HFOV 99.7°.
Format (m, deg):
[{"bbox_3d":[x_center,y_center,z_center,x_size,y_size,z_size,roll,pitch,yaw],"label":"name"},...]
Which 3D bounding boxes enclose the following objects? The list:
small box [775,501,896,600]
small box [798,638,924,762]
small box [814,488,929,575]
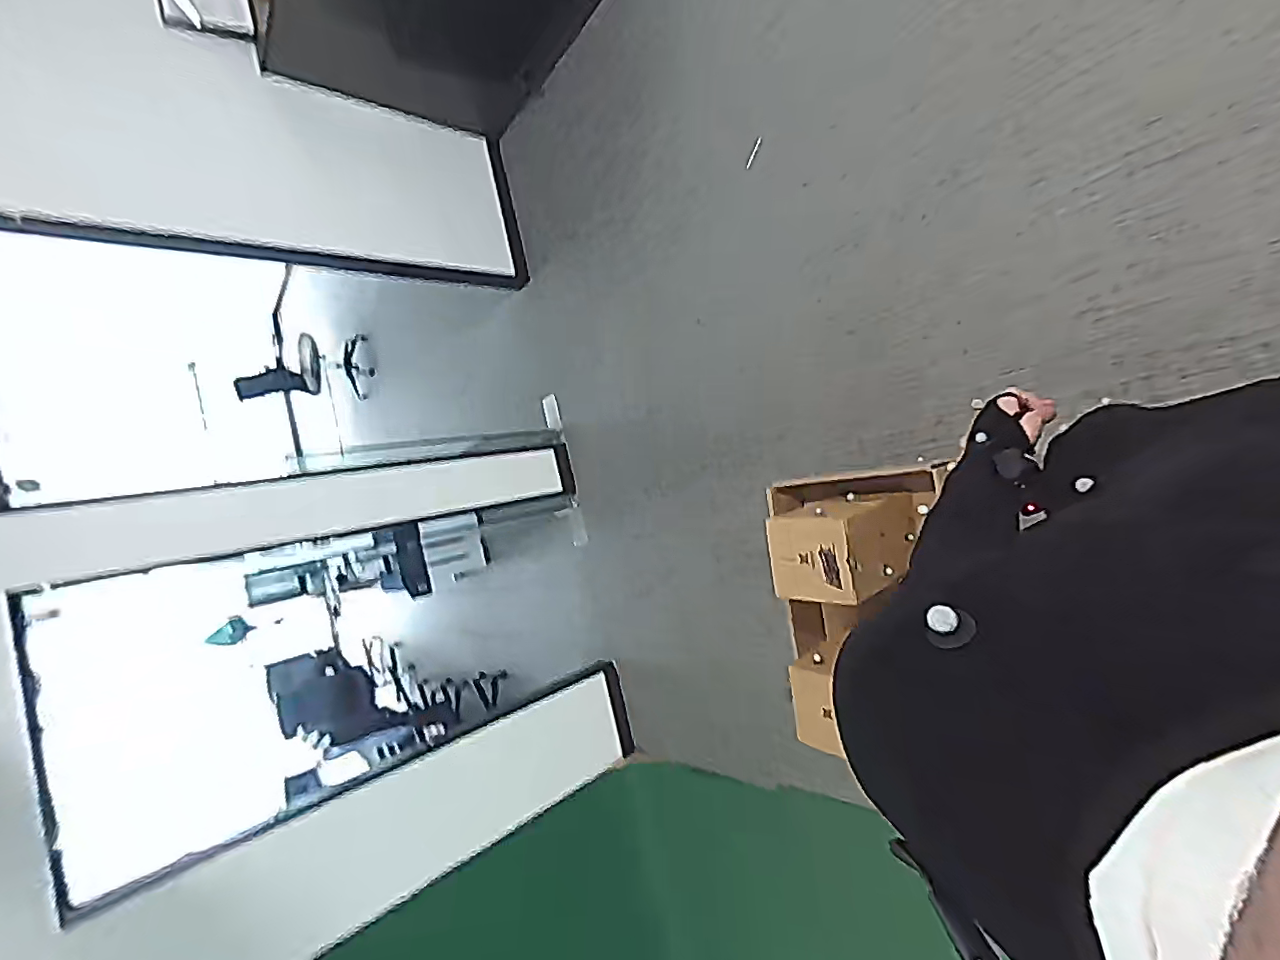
[{"bbox_3d":[0.406,0.138,1.110,0.179,0.176,0.168,-6,92,49],"label":"small box"},{"bbox_3d":[0.455,0.440,1.115,0.179,0.176,0.168,-5,95,49],"label":"small box"},{"bbox_3d":[0.523,0.114,1.223,0.179,0.176,0.168,-9,91,48],"label":"small box"}]
